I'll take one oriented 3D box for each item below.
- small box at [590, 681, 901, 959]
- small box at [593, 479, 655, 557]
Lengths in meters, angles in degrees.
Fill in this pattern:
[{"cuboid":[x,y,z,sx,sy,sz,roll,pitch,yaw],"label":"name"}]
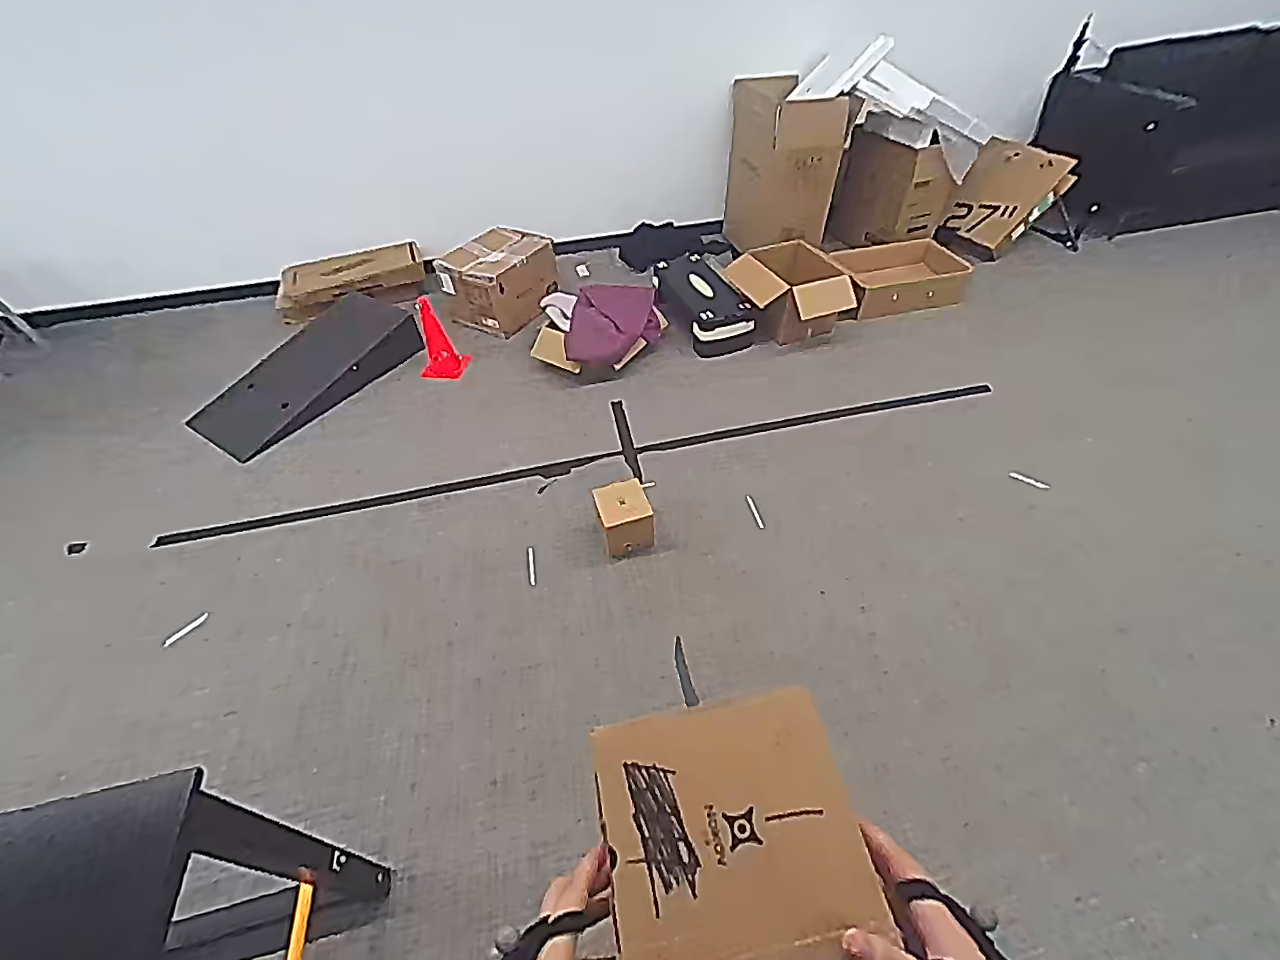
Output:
[{"cuboid":[0.066,0.282,0.433,0.179,0.176,0.168,-11,56,-4],"label":"small box"},{"cuboid":[-0.054,0.130,1.826,0.168,0.176,0.179,-16,49,-10],"label":"small box"}]
